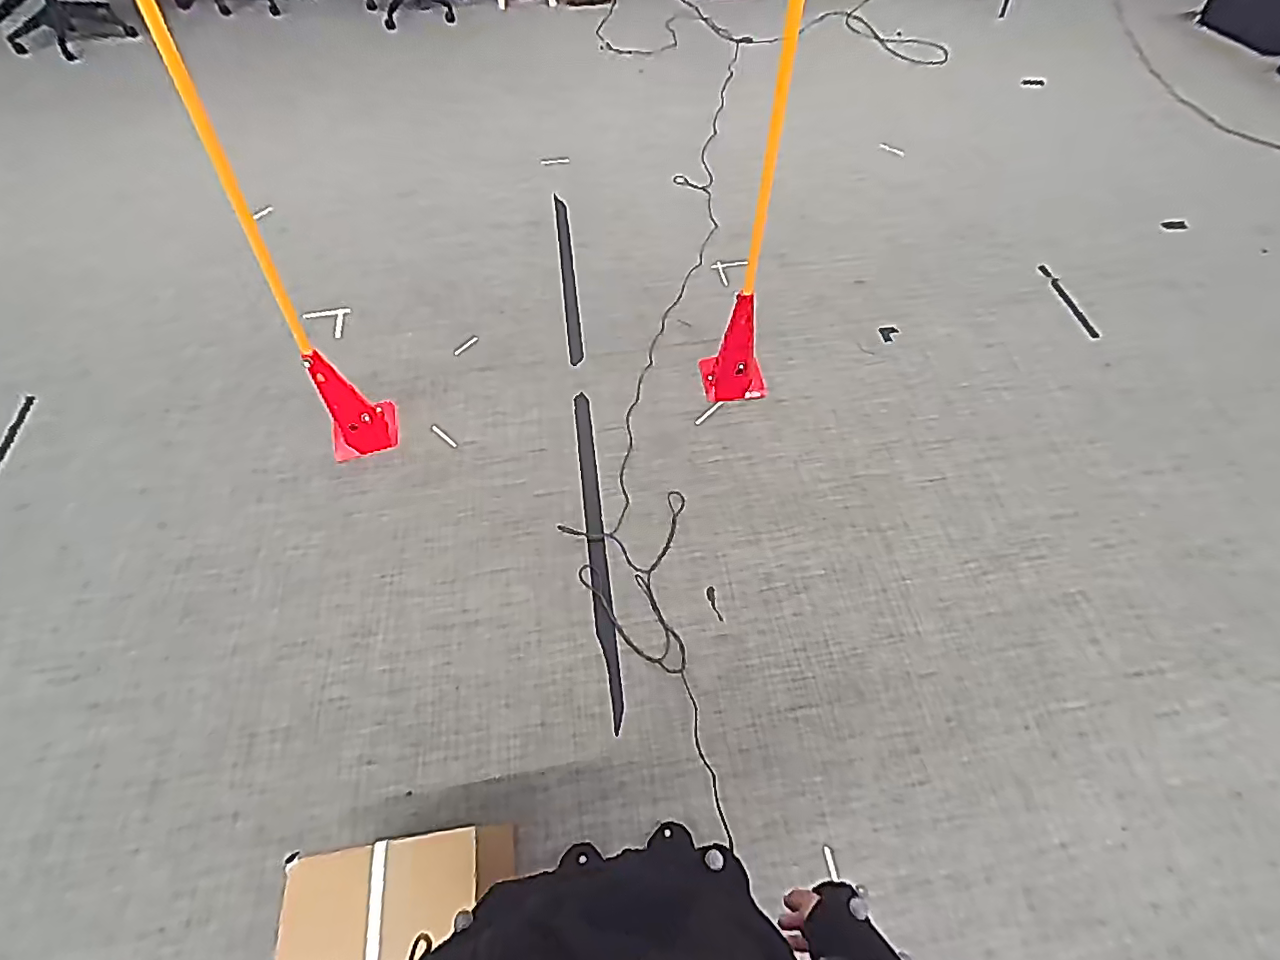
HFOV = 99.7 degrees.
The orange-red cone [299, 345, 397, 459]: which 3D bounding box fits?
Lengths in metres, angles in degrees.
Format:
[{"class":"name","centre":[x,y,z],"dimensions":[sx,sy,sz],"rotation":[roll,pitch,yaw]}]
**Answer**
[{"class":"orange-red cone","centre":[-0.885,-0.252,1.581],"dimensions":[0.199,0.360,0.198],"rotation":[-16,59,-7]}]
